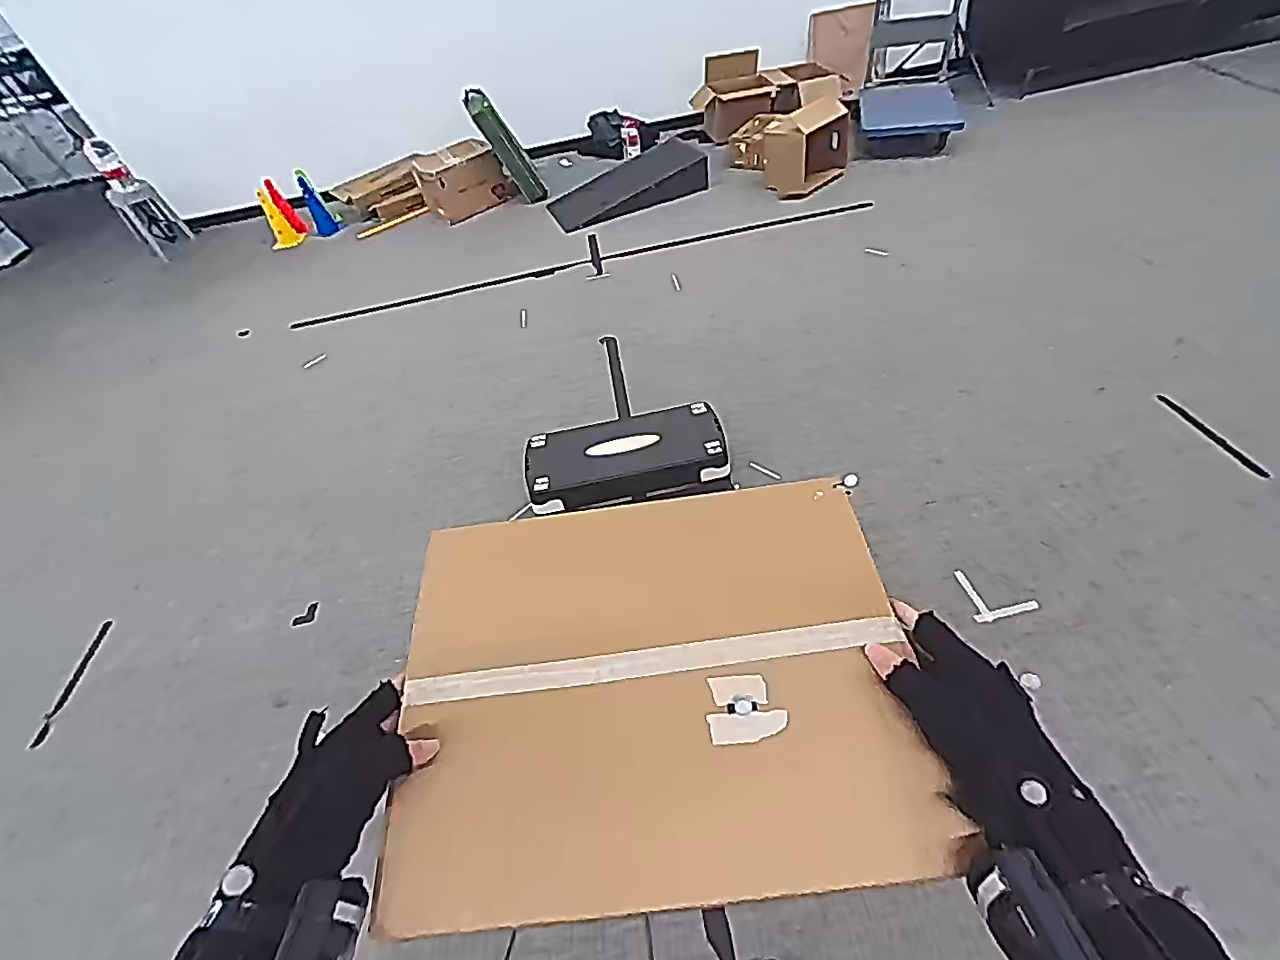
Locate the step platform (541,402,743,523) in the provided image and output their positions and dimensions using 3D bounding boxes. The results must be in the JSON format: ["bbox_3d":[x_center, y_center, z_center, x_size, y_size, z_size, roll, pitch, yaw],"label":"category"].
[{"bbox_3d":[0.004,-0.058,1.868,0.684,0.204,0.286,-12,48,-1],"label":"step platform"}]

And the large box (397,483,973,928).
[{"bbox_3d":[0.028,0.241,0.570,0.408,0.320,0.320,-8,54,2],"label":"large box"}]
